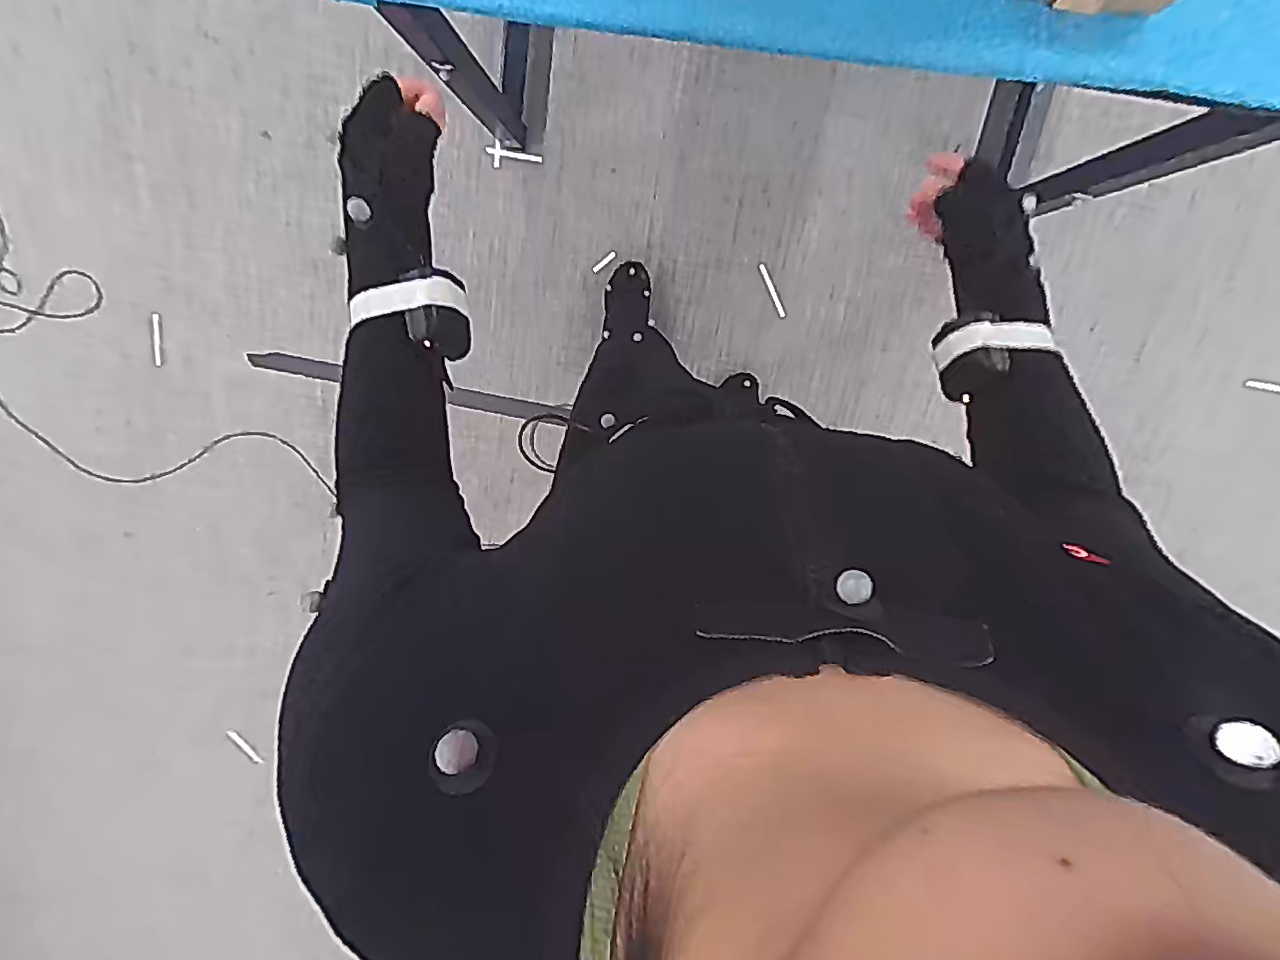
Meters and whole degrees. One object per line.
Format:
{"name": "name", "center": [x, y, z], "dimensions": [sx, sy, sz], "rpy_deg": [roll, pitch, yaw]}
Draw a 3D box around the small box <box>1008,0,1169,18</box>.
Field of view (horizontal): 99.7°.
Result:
{"name": "small box", "center": [0.459, -0.561, 0.471], "dimensions": [0.168, 0.176, 0.179], "rpy_deg": [9, 106, 0]}
